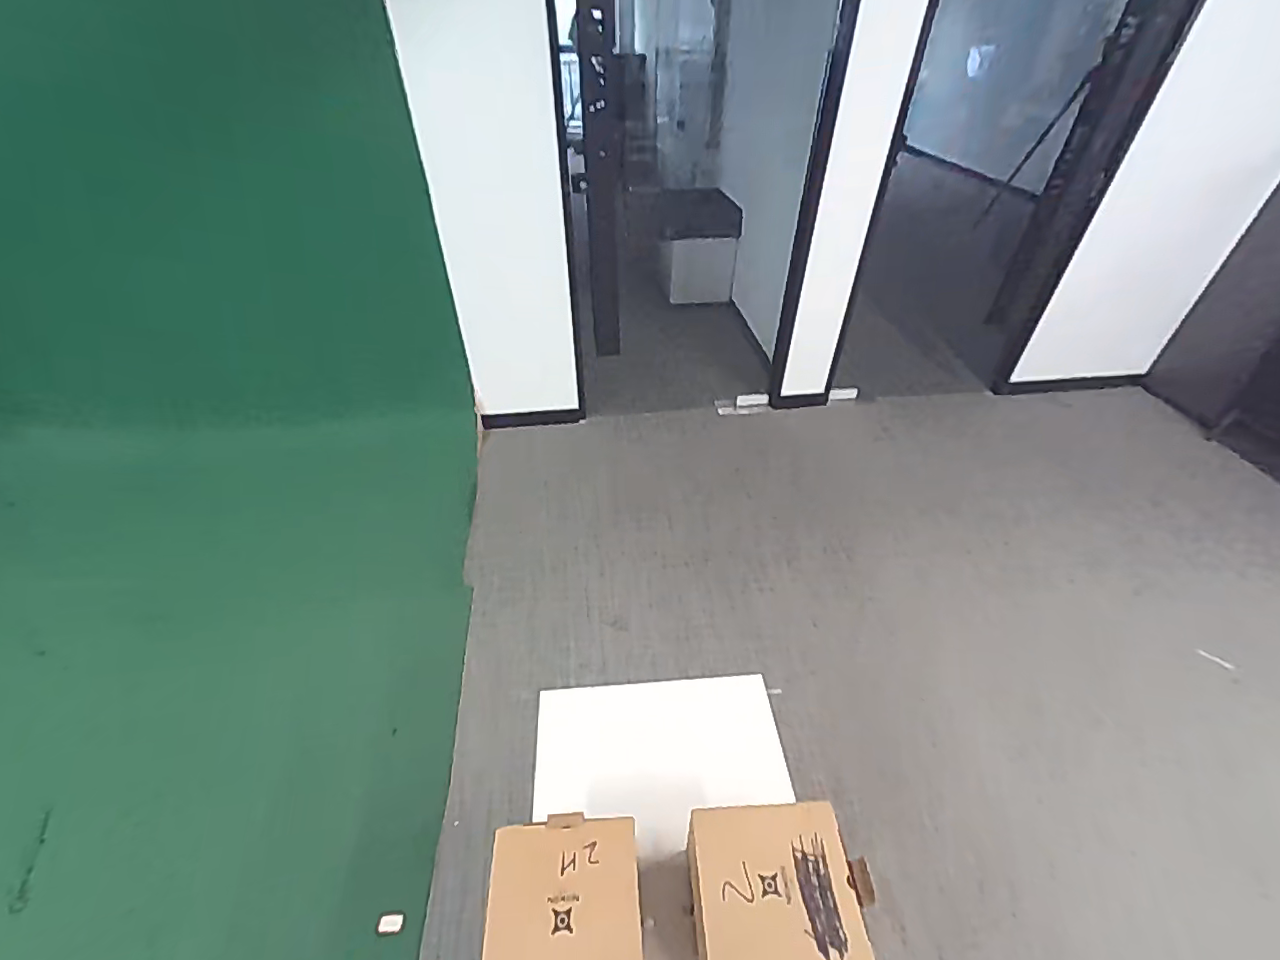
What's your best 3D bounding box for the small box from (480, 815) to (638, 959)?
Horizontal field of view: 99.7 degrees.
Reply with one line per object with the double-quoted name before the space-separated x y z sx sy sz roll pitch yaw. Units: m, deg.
"small box" -0.086 0.523 0.635 0.168 0.176 0.179 -1 41 -5
